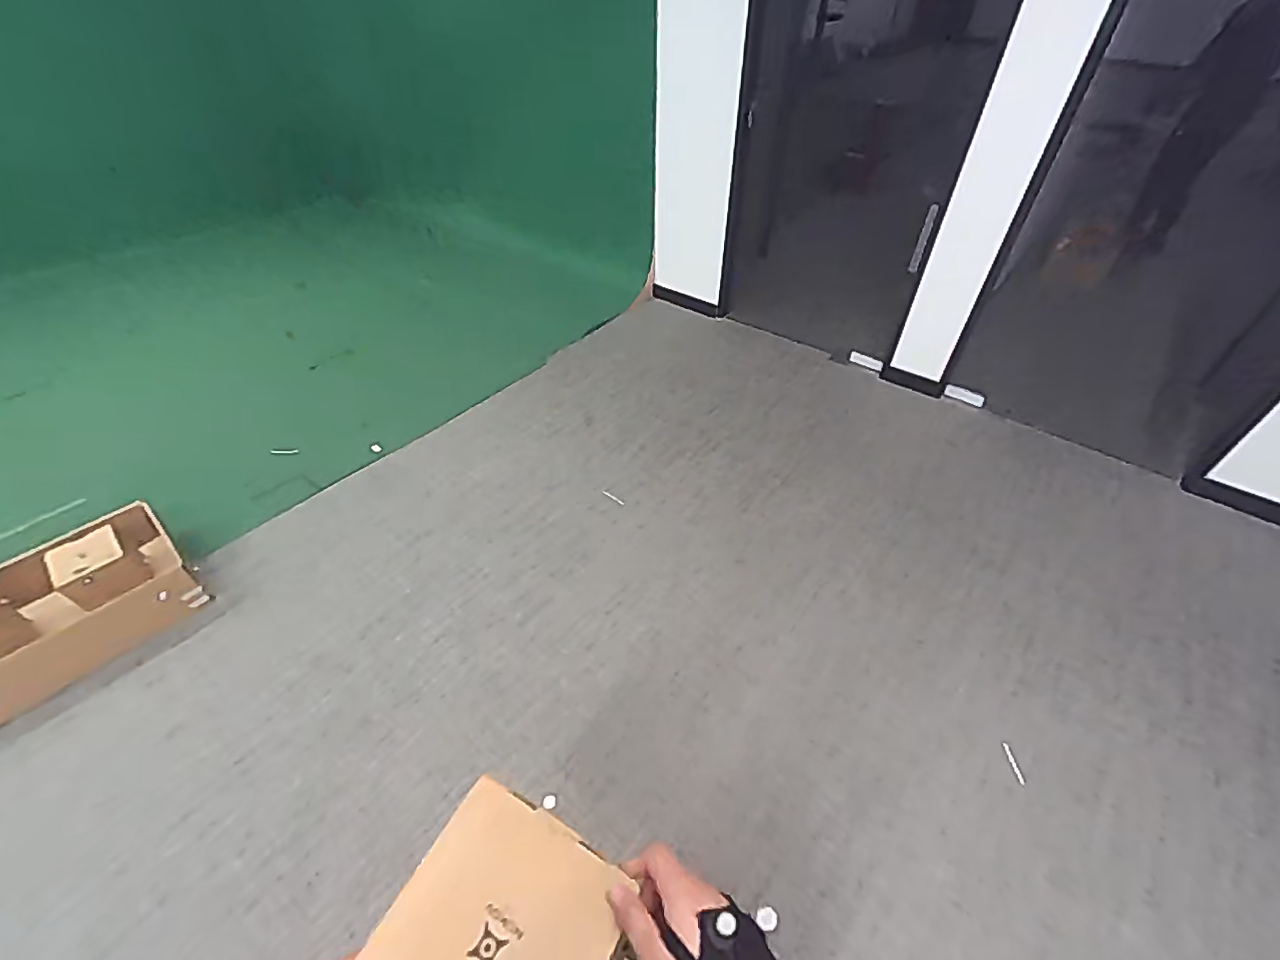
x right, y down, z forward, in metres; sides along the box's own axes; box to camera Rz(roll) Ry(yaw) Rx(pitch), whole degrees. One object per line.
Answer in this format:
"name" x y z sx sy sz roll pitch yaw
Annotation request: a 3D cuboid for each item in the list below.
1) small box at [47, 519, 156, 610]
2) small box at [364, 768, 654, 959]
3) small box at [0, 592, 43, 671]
"small box" -1.634 0.259 1.646 0.168 0.176 0.179 -35 55 -30
"small box" -0.098 0.391 0.467 0.168 0.176 0.179 21 56 21
"small box" -1.810 0.420 1.477 0.179 0.176 0.168 30 52 26
